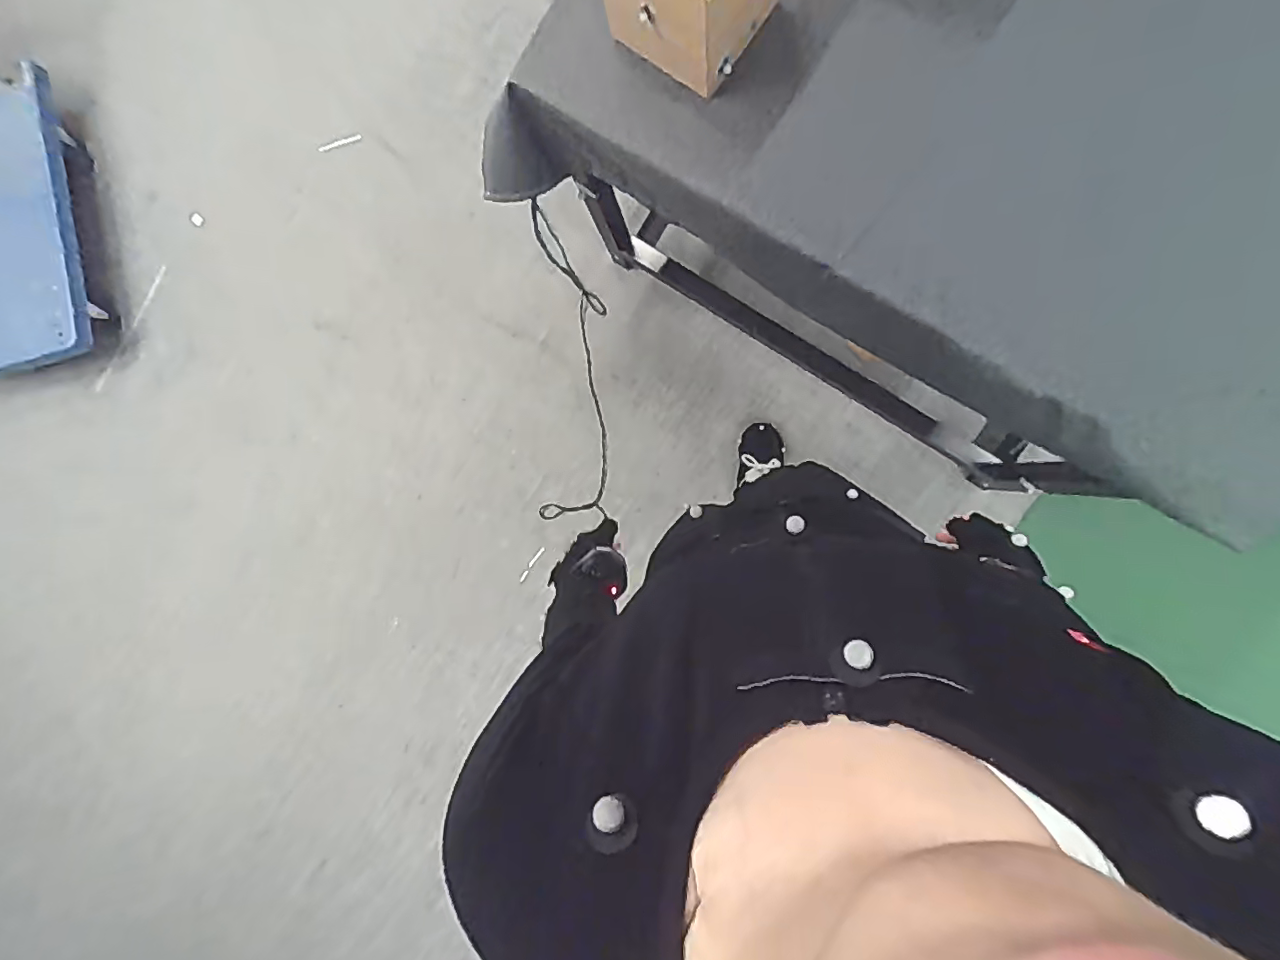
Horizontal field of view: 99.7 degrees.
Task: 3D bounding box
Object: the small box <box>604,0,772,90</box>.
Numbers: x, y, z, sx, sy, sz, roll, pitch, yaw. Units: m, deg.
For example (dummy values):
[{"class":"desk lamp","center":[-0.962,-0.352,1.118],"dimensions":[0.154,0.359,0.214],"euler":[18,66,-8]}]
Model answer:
[{"class":"small box","center":[0.064,-0.653,0.692],"dimensions":[0.179,0.176,0.168],"euler":[37,95,6]}]
